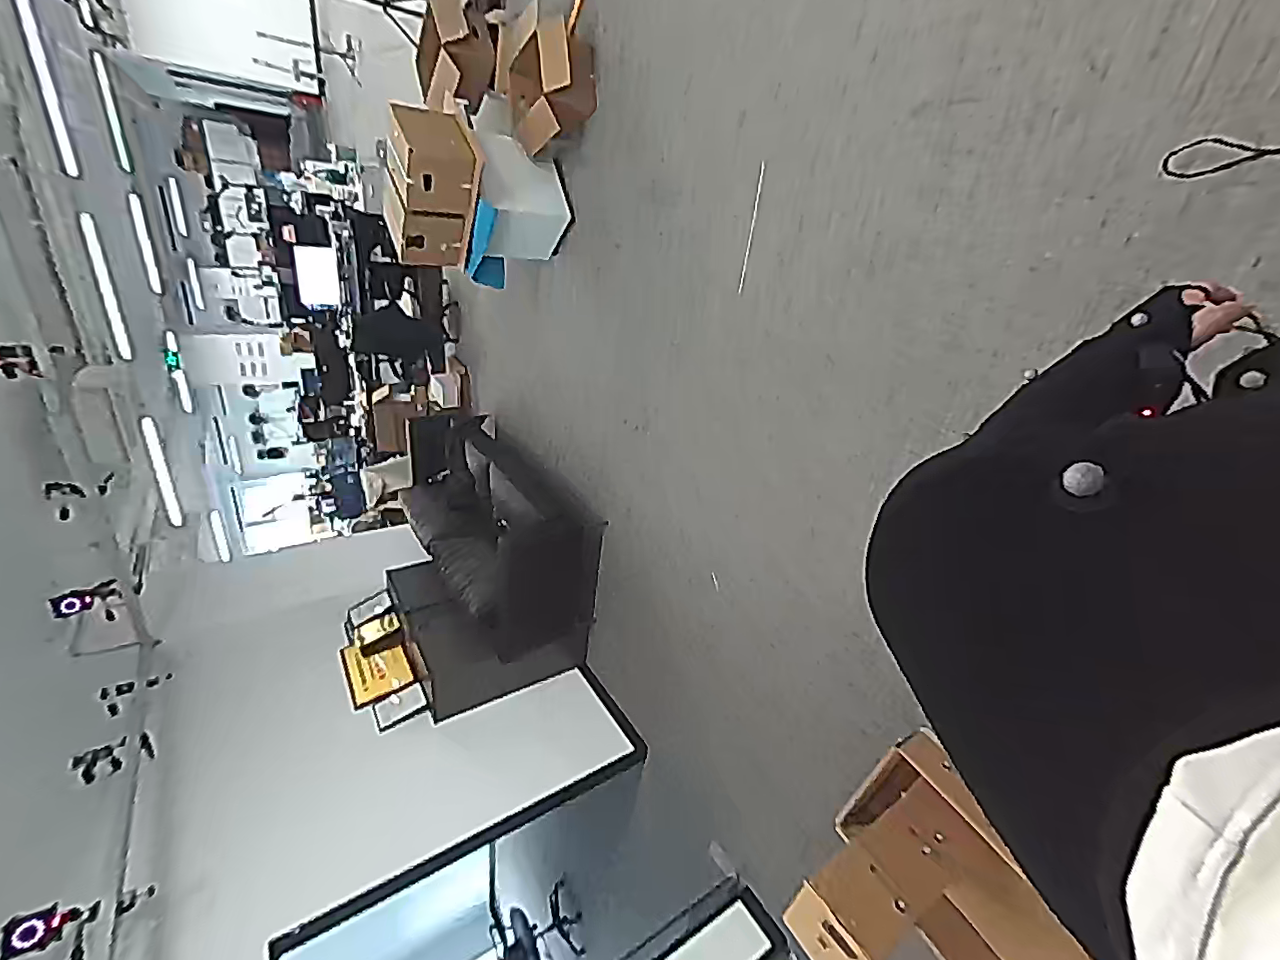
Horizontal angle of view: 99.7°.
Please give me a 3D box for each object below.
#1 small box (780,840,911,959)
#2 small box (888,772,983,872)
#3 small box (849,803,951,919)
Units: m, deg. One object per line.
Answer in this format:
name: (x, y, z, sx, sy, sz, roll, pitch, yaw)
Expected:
small box: (0.431, 0.906, 1.130, 0.168, 0.176, 0.179, 42, 132, 41)
small box: (0.693, 0.863, 1.319, 0.168, 0.176, 0.179, 42, 132, 41)
small box: (0.563, 0.884, 1.225, 0.168, 0.176, 0.179, 42, 131, 41)
